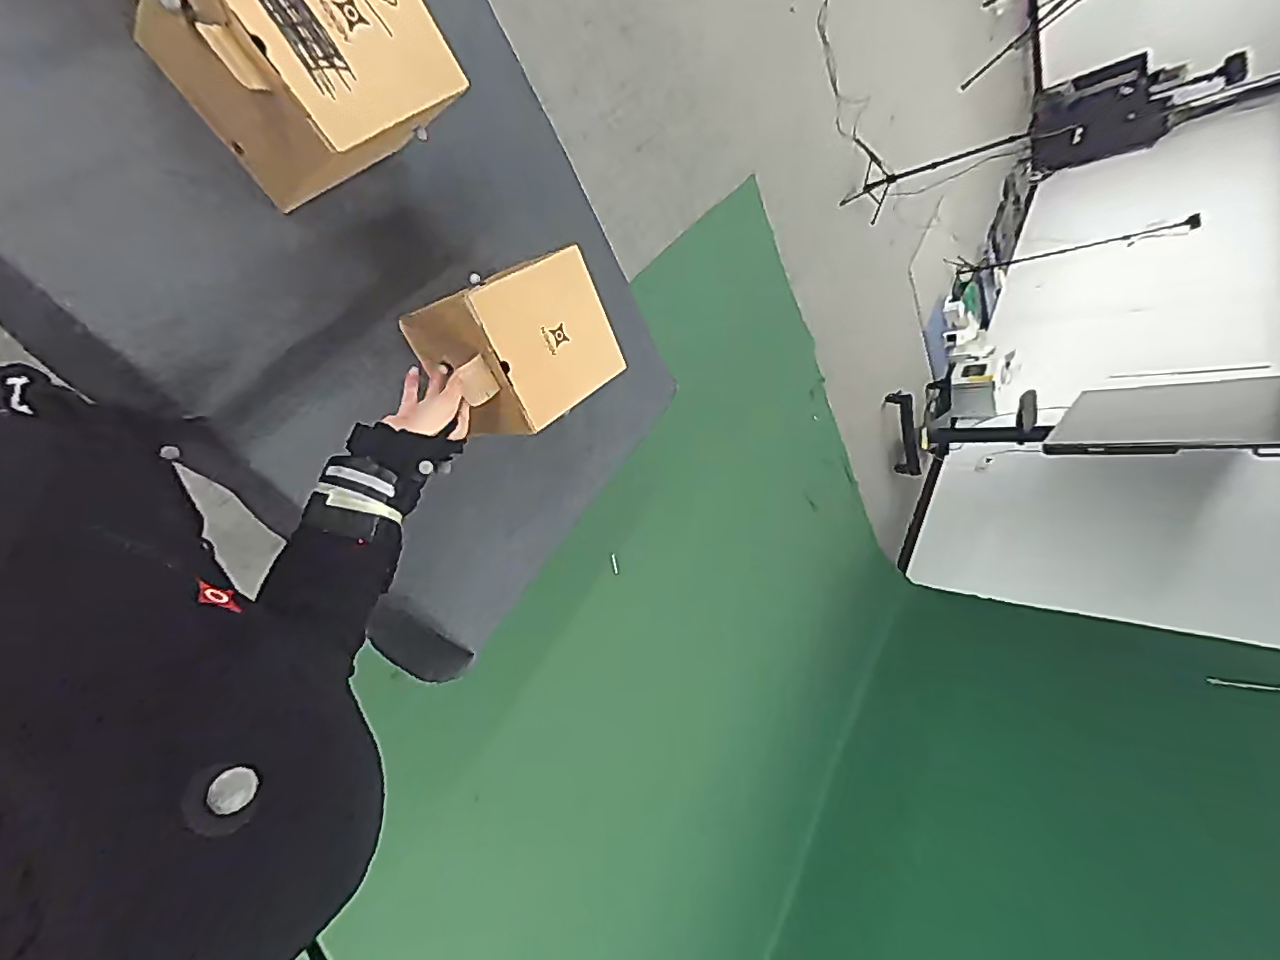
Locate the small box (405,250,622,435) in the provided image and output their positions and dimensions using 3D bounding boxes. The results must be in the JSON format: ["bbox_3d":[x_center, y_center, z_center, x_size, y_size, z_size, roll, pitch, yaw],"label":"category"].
[{"bbox_3d":[-0.159,-0.171,0.694,0.179,0.176,0.168,-44,123,-35],"label":"small box"}]
